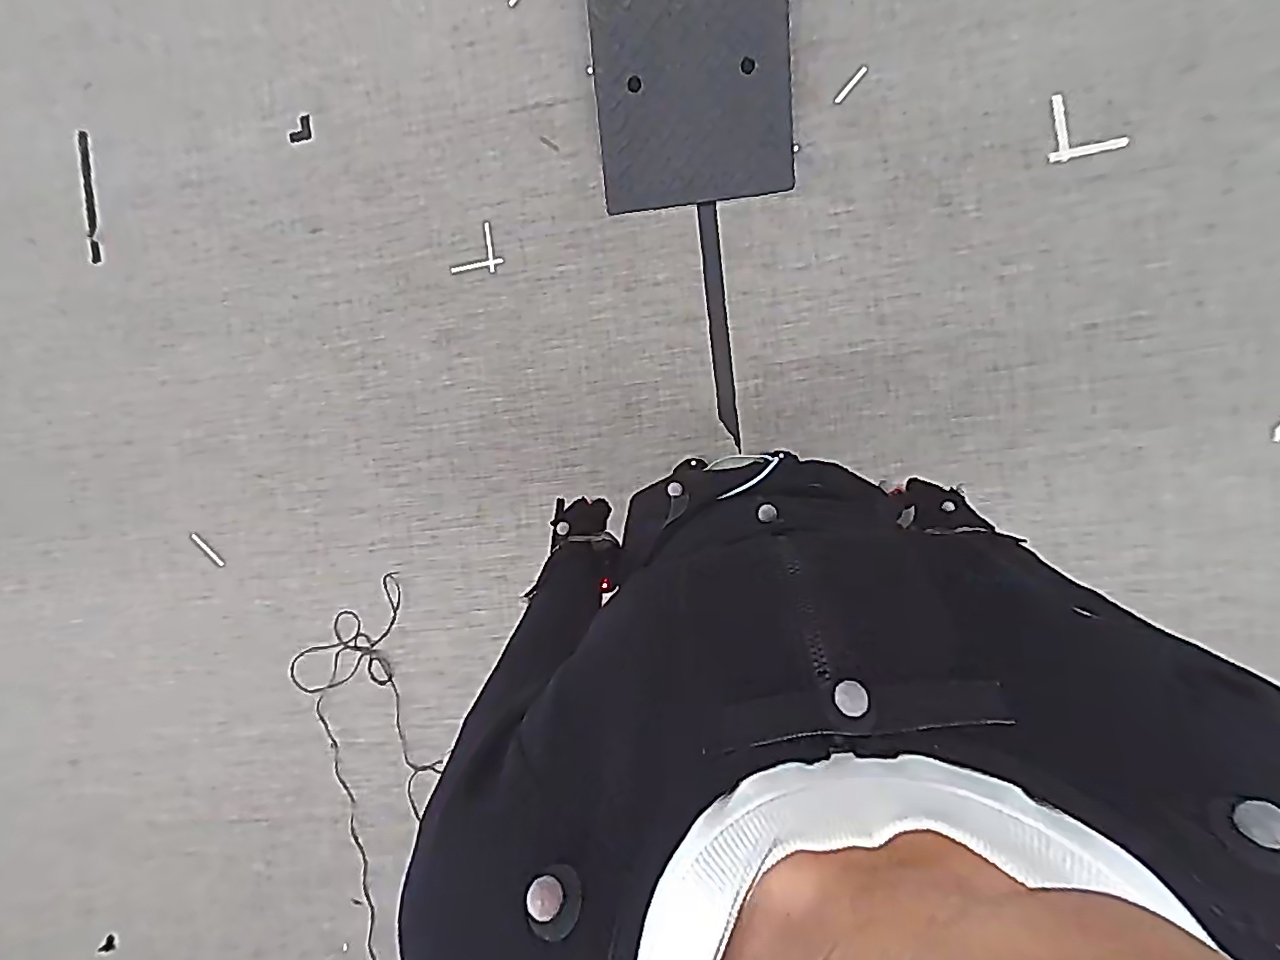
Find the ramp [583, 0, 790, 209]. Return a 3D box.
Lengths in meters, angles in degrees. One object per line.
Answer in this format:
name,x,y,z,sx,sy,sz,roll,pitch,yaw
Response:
ramp,0.099,-1.225,1.311,0.509,0.206,0.991,-6,92,7
